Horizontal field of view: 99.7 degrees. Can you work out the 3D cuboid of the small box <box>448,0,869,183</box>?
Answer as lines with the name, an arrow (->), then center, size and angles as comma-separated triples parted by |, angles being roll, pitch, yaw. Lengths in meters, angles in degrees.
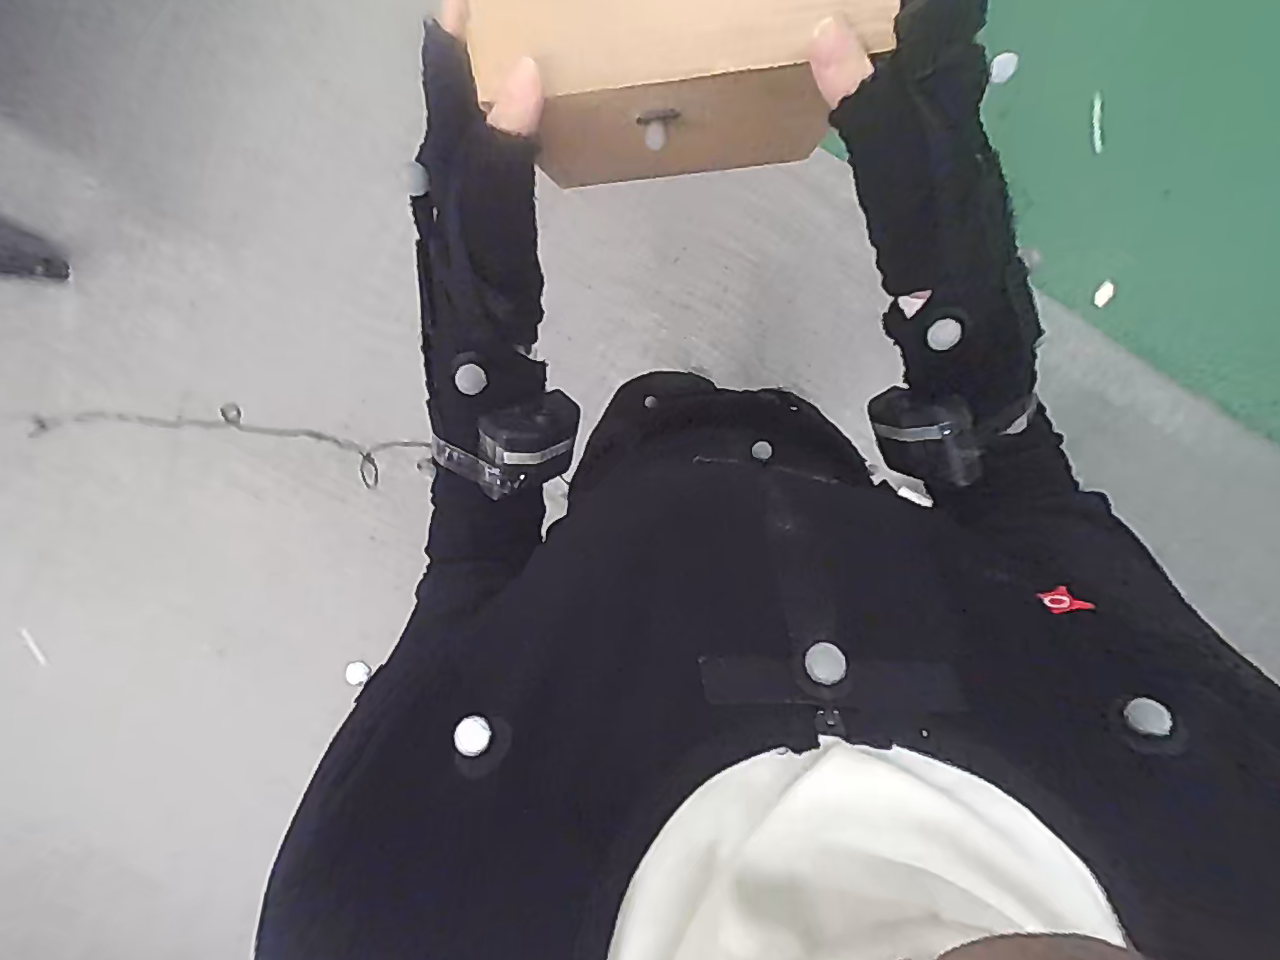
small box -> 0.006, -0.273, 0.284 | 0.179, 0.176, 0.168 | -5, 106, 5
